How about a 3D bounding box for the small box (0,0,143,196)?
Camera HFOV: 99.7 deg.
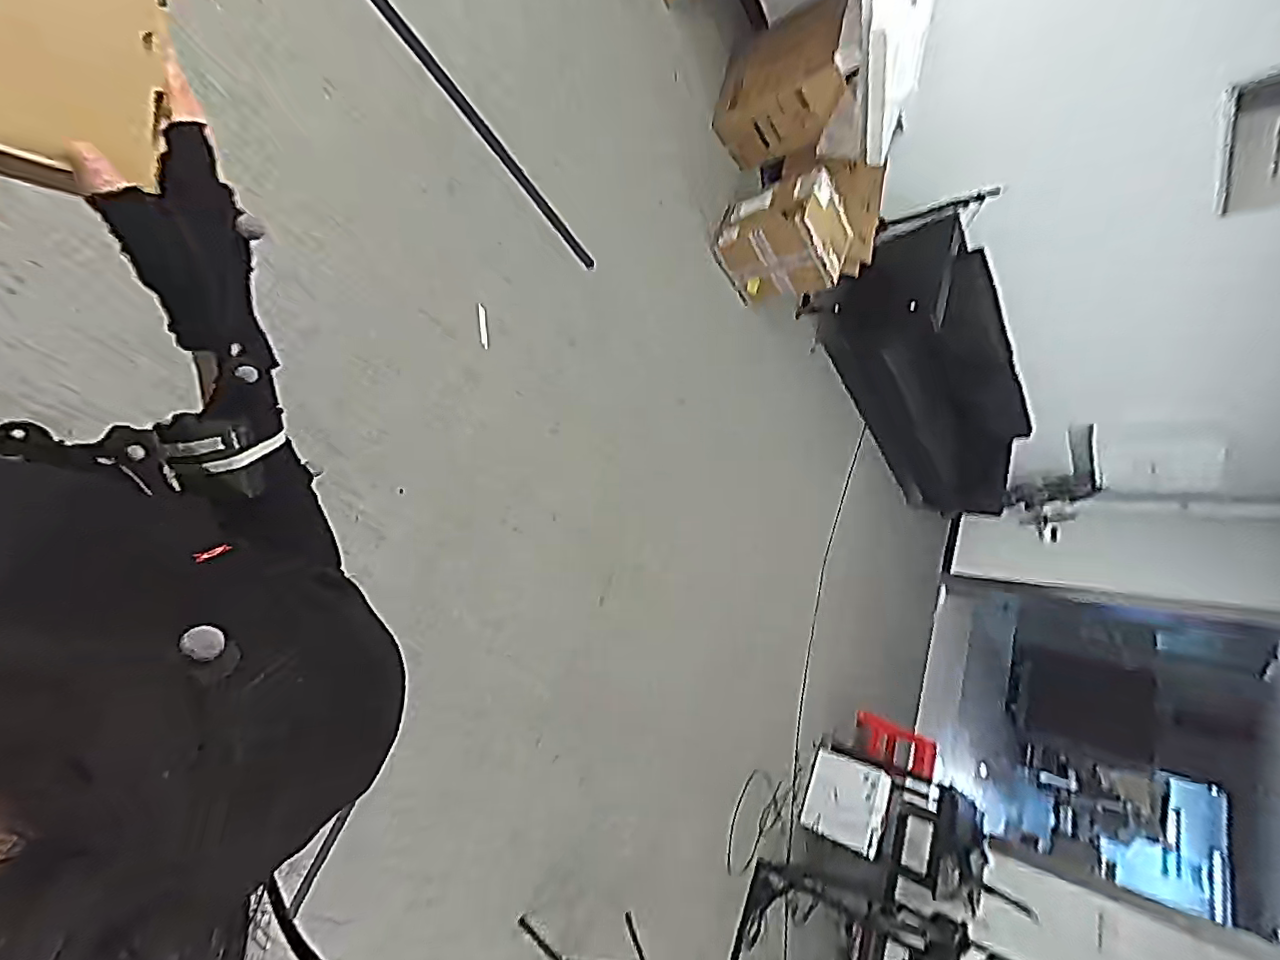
[{"bbox_3d":[-0.404,-0.273,0.296,0.179,0.176,0.168,1,105,-49],"label":"small box"}]
